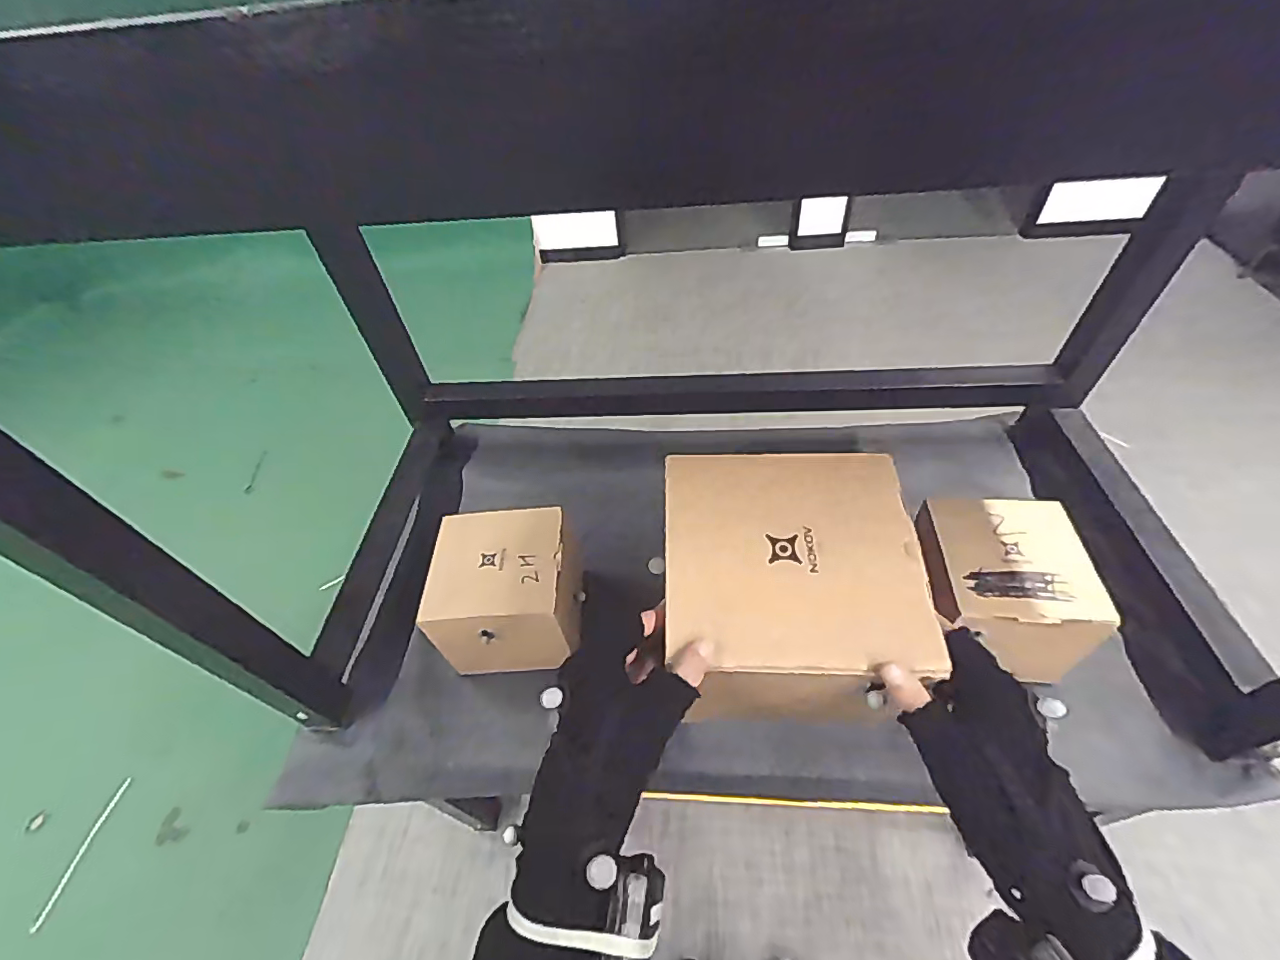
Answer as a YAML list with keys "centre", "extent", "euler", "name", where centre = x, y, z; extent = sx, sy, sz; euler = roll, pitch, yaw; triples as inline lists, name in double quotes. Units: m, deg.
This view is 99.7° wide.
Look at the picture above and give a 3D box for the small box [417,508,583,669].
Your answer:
- centre: [-0.185, 0.160, 0.776]
  extent: [0.179, 0.176, 0.168]
  euler: [-4, 49, 2]
  name: "small box"
